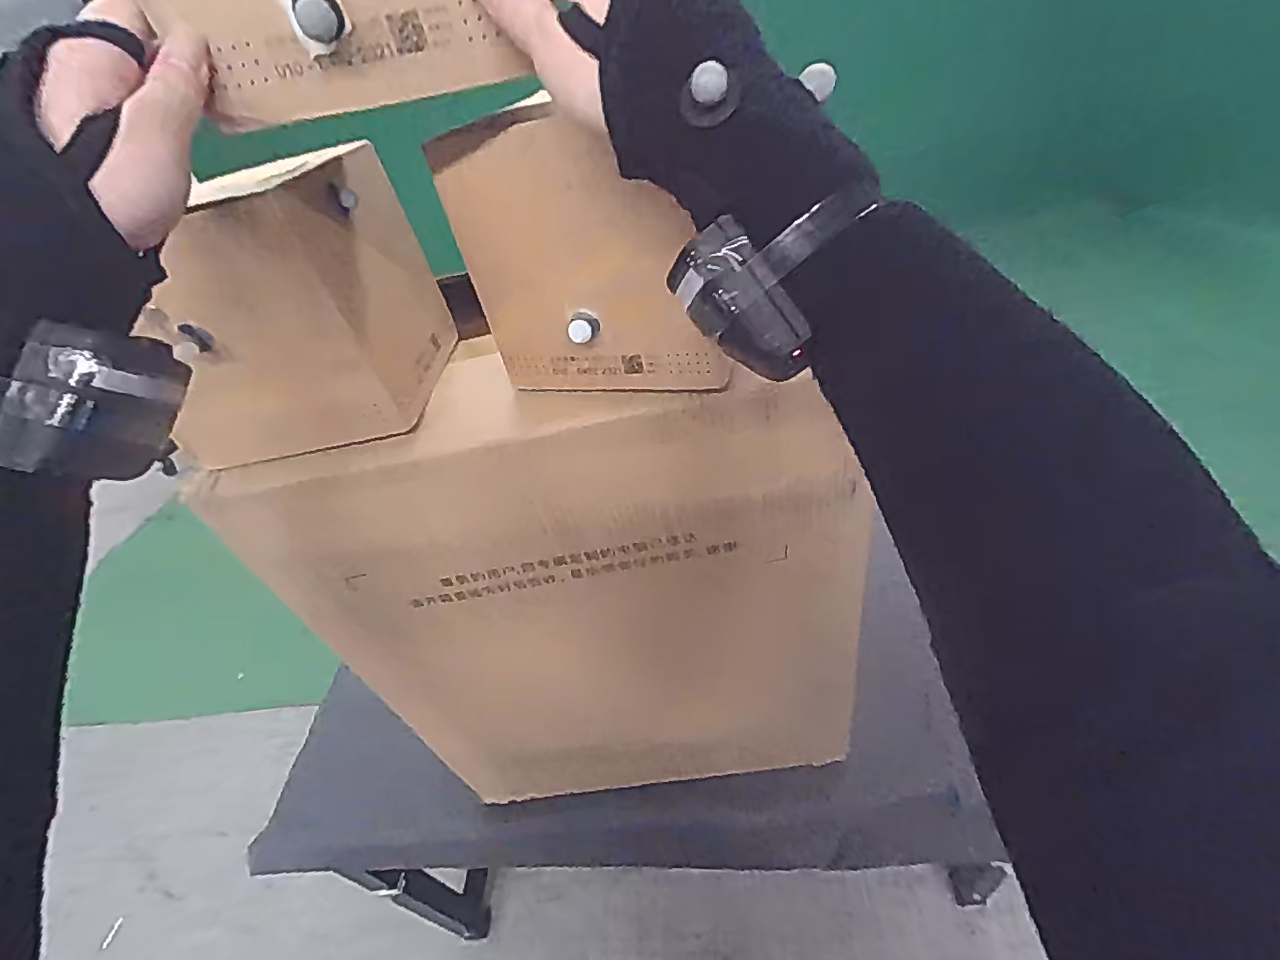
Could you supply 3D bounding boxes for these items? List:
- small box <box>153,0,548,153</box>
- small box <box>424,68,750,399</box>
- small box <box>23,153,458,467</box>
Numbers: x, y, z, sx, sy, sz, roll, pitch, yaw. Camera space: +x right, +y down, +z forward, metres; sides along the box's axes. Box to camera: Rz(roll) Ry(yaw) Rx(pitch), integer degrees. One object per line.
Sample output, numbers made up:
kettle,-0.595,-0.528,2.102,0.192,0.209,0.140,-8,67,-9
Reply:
small box,-0.149,-0.289,0.274,0.168,0.176,0.179,-13,46,0
small box,-0.015,-0.178,0.401,0.168,0.176,0.179,4,43,21
small box,-0.275,-0.129,0.426,0.179,0.176,0.168,-11,40,7
